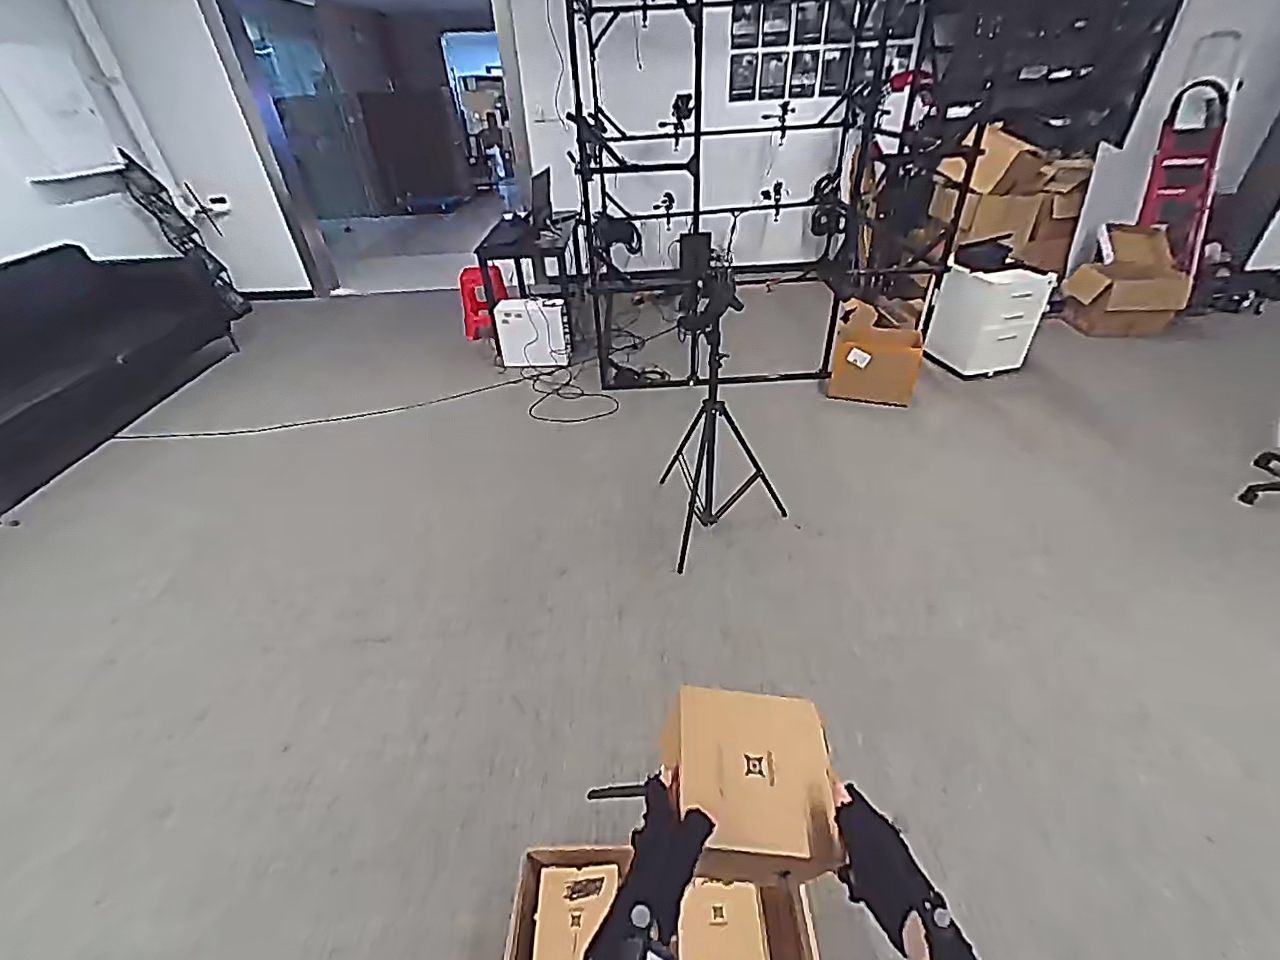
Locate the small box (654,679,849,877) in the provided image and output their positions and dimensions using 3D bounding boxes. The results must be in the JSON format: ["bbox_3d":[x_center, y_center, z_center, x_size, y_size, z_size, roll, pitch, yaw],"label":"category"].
[{"bbox_3d":[0.117,0.359,0.646,0.179,0.176,0.168,6,46,-4],"label":"small box"}]

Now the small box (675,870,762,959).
[{"bbox_3d":[0.162,0.939,1.127,0.168,0.176,0.179,-3,37,4],"label":"small box"}]
